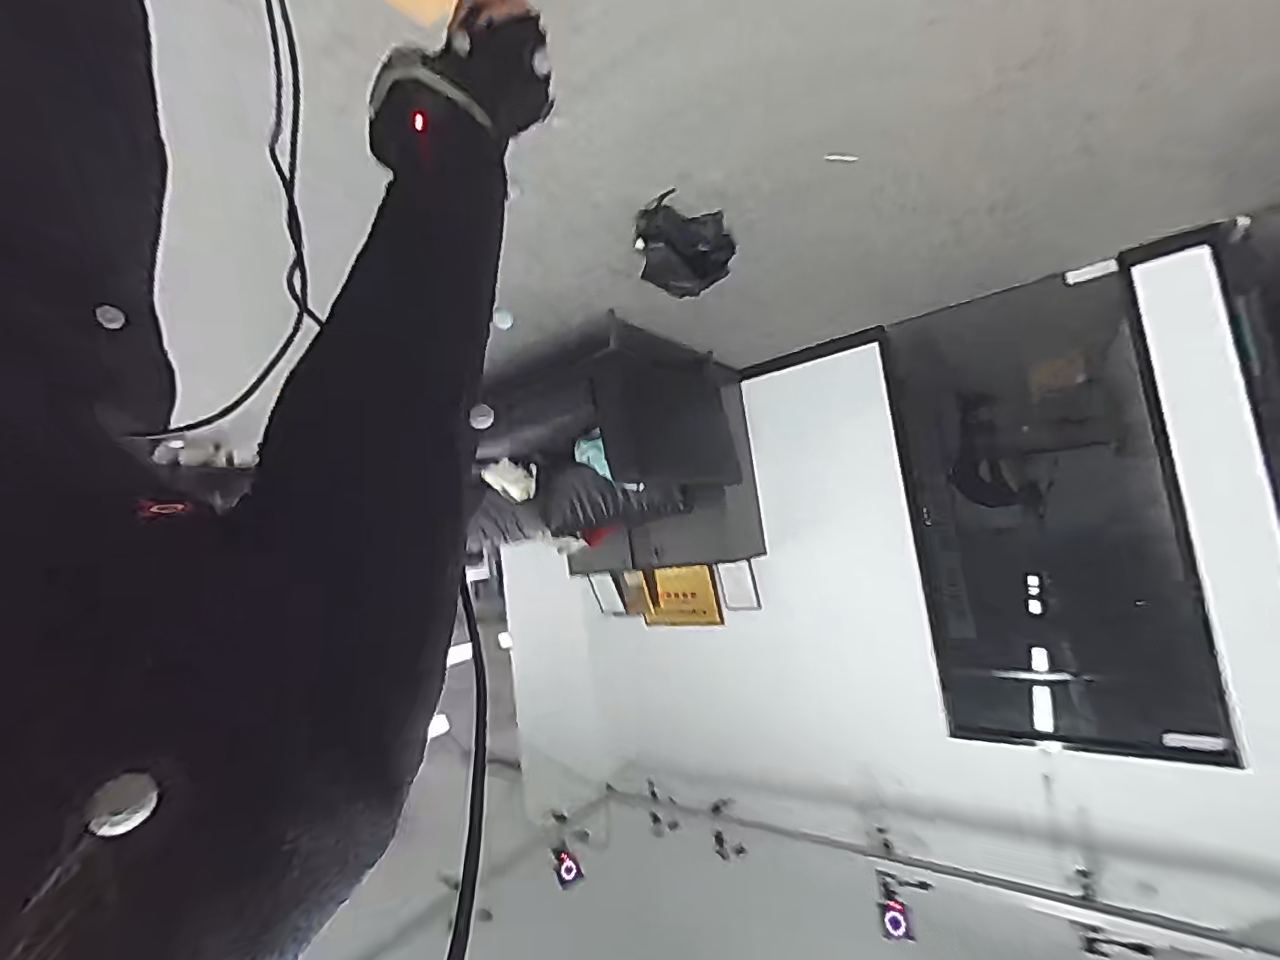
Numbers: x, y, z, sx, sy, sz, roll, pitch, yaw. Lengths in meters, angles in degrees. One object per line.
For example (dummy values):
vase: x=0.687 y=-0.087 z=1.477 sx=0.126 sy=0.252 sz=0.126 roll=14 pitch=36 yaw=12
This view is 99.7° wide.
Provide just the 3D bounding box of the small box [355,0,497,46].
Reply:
small box: x=-0.179 y=-0.474 z=0.379 sx=0.168 sy=0.179 sz=0.176 roll=-6 pitch=-171 yaw=26
